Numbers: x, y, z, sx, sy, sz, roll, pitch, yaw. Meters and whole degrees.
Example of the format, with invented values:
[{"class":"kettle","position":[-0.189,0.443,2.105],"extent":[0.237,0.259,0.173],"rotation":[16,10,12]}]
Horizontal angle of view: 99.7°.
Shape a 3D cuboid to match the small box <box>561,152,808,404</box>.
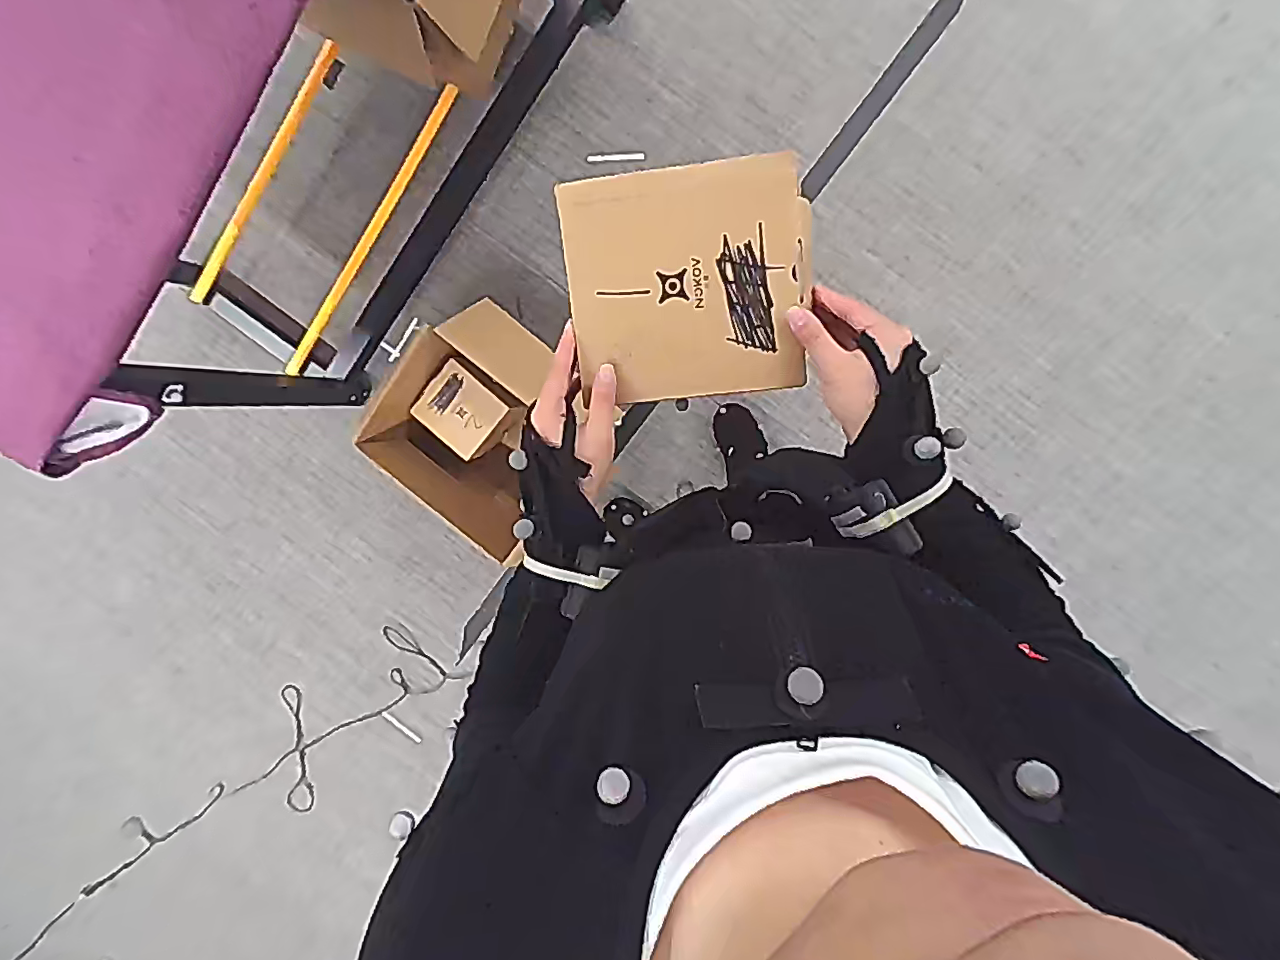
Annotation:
[{"class":"small box","position":[0.040,-0.163,0.479],"extent":[0.179,0.176,0.168],"rotation":[-5,102,5]}]
